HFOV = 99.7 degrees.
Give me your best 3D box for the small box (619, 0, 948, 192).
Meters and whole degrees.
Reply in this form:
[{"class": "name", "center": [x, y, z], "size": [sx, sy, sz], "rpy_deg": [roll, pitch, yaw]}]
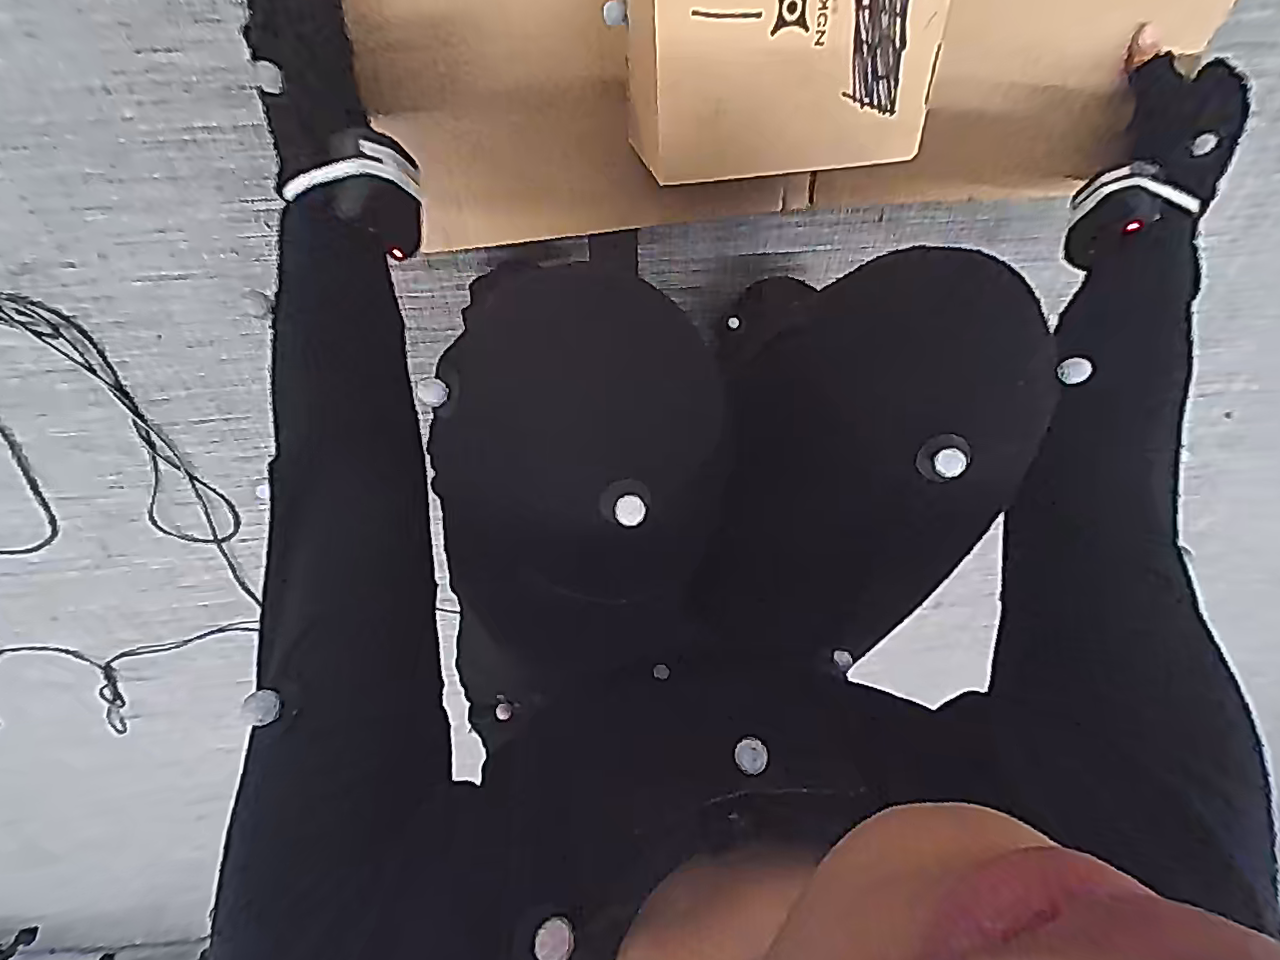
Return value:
[{"class": "small box", "center": [0.082, -0.313, 0.370], "size": [0.179, 0.176, 0.168], "rpy_deg": [-8, 130, -4]}]
